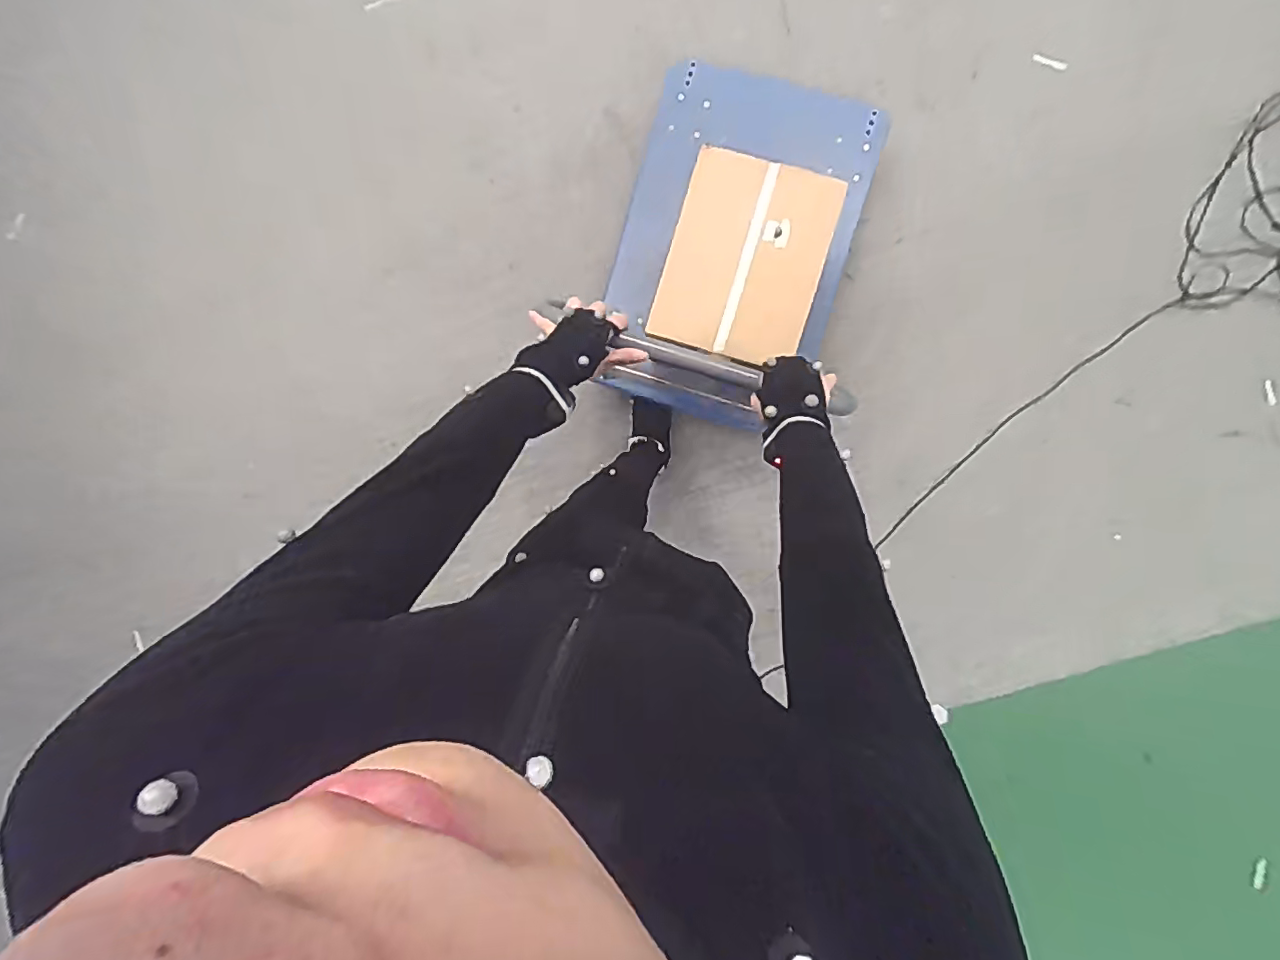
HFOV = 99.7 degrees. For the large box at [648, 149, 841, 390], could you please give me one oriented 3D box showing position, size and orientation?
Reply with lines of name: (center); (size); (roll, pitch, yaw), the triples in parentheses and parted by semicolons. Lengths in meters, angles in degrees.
large box: (0.226, -0.462, 1.274); (0.320, 0.320, 0.408); (18, 92, 3)
